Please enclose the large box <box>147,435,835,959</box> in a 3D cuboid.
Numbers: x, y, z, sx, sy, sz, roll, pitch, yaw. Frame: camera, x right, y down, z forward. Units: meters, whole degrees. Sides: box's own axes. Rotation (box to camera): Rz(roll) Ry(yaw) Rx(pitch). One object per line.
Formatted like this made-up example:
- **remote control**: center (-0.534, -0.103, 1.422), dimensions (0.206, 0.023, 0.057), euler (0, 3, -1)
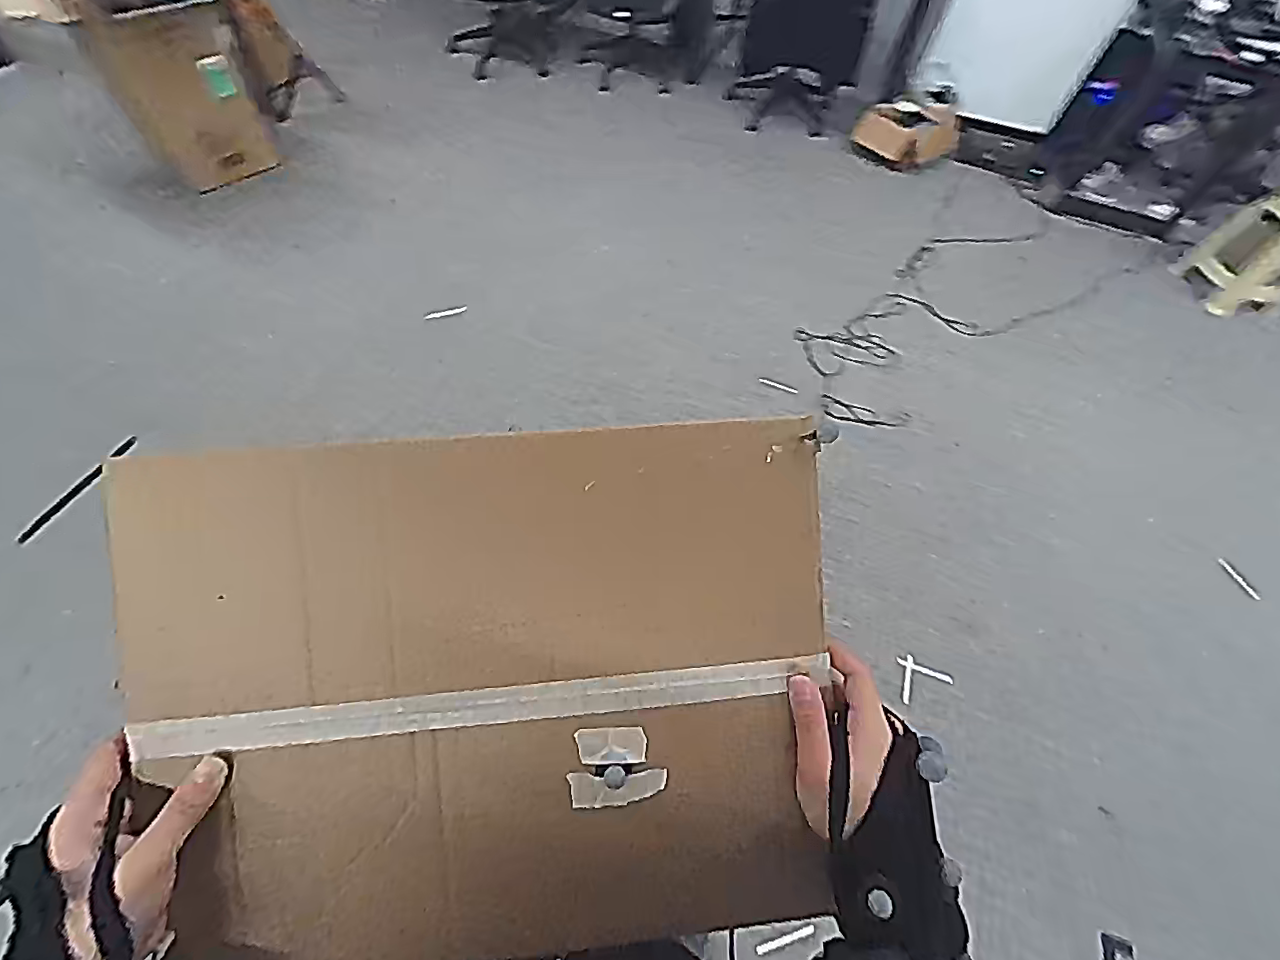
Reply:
- **large box**: center (-0.093, 0.135, 0.480), dimensions (0.408, 0.320, 0.320), euler (-3, 93, -5)
